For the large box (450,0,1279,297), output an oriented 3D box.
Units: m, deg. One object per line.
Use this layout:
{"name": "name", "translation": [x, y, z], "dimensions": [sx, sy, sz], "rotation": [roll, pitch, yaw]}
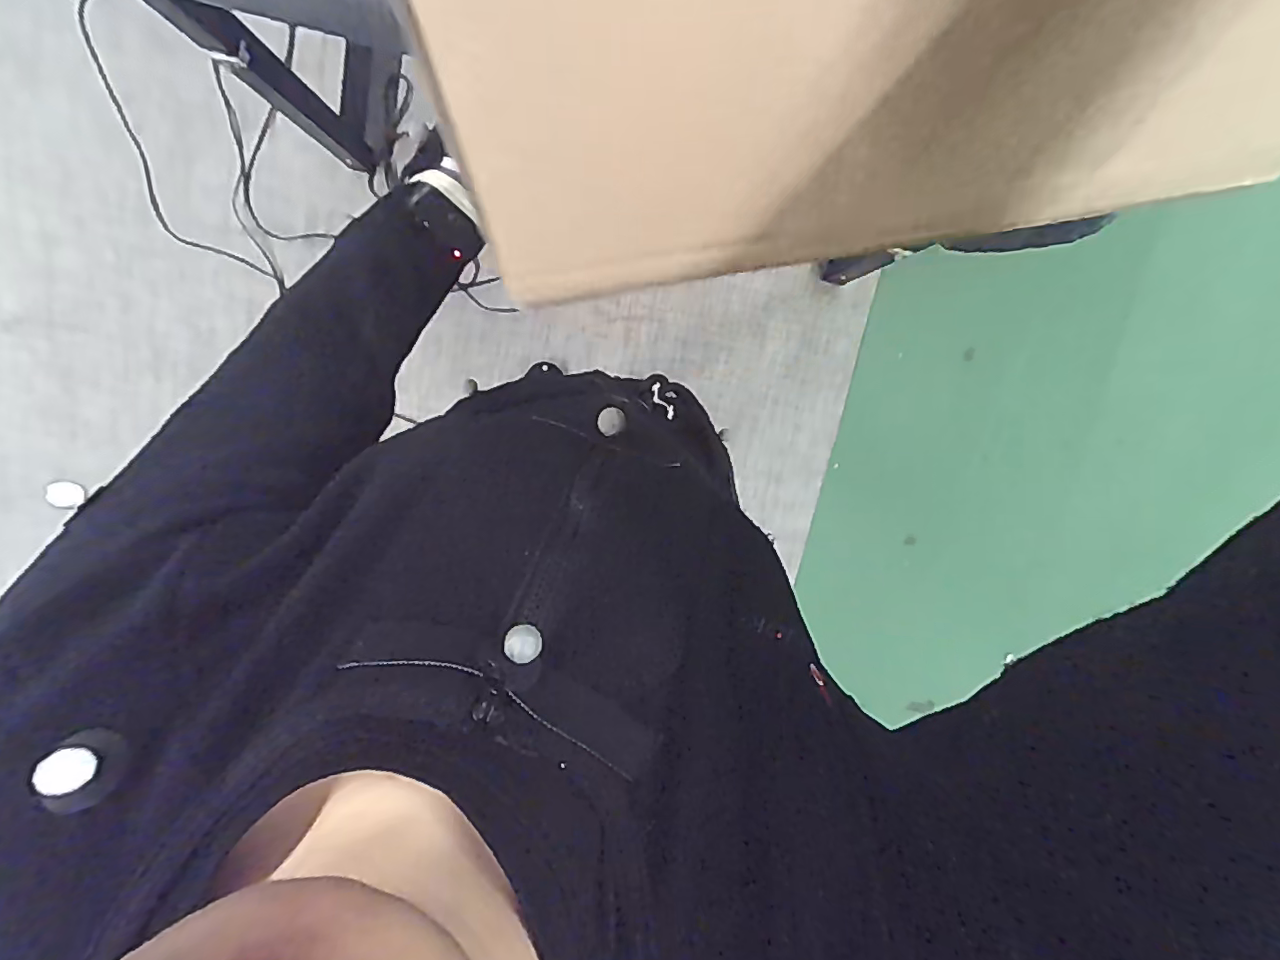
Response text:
{"name": "large box", "translation": [0.058, -0.347, 0.231], "dimensions": [0.320, 0.408, 0.320], "rotation": [-11, 142, 0]}
